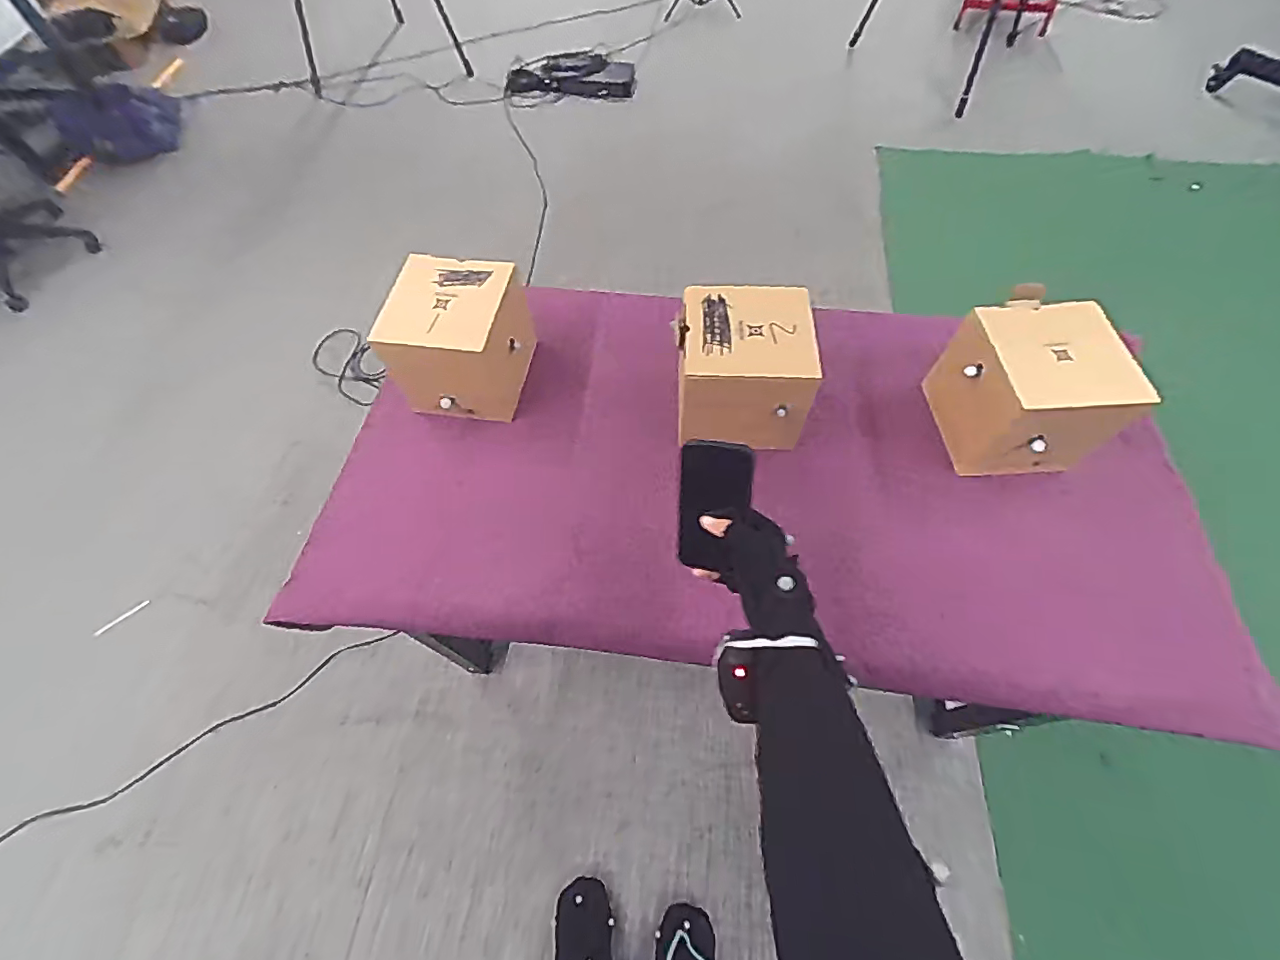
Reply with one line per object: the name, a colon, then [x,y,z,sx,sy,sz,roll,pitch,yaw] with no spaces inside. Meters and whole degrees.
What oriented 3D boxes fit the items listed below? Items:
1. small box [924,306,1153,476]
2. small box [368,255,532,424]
small box: [0.532,-0.115,0.756,0.168,0.176,0.179,-3,60,0]
small box: [-0.273,-0.211,0.828,0.168,0.176,0.179,7,62,5]
